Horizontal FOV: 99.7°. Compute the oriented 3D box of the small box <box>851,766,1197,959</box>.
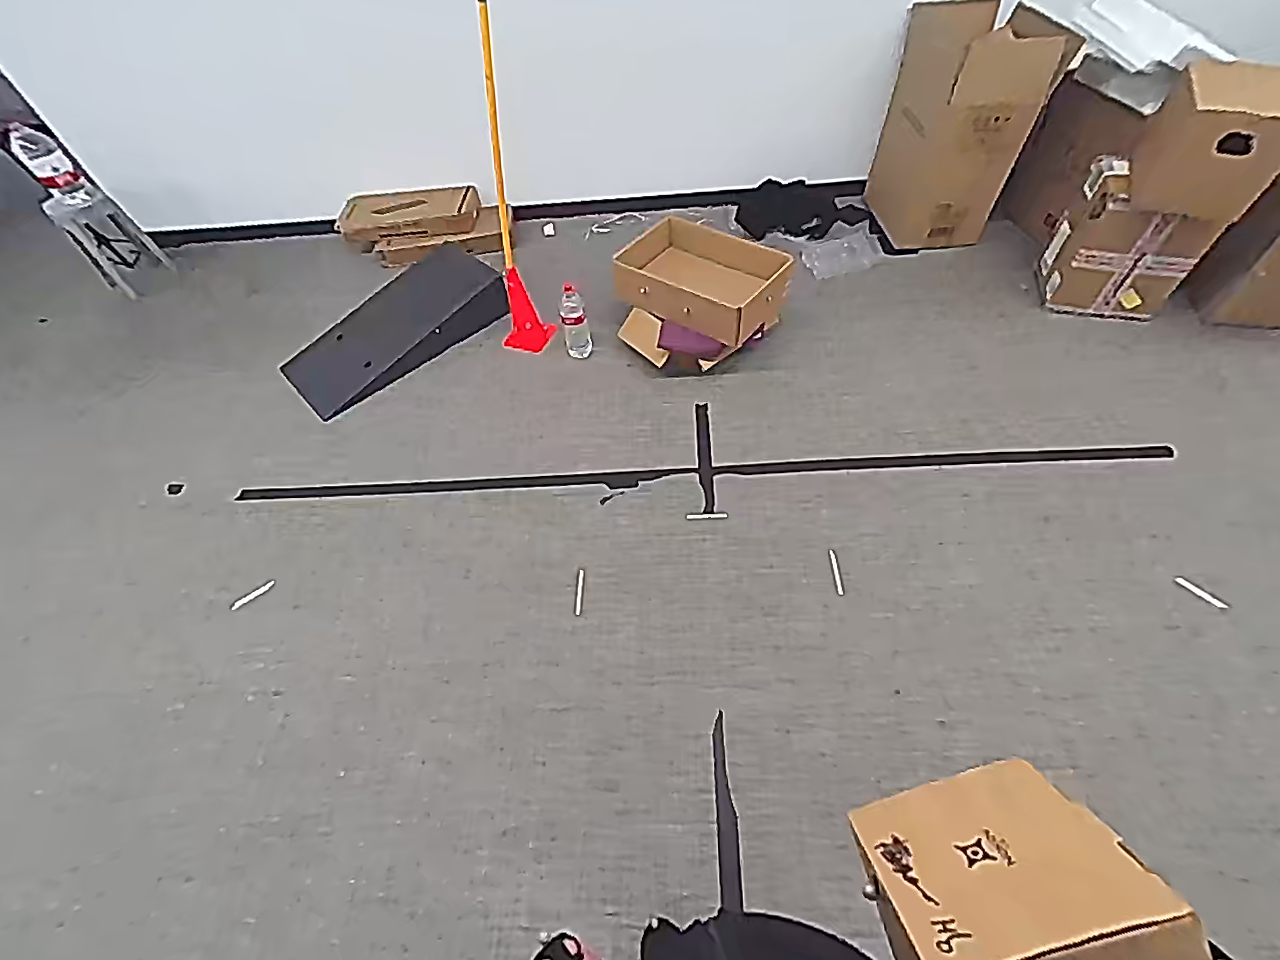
[{"bbox_3d":[0.308,0.384,0.449,0.179,0.168,0.176,-18,94,3],"label":"small box"}]
